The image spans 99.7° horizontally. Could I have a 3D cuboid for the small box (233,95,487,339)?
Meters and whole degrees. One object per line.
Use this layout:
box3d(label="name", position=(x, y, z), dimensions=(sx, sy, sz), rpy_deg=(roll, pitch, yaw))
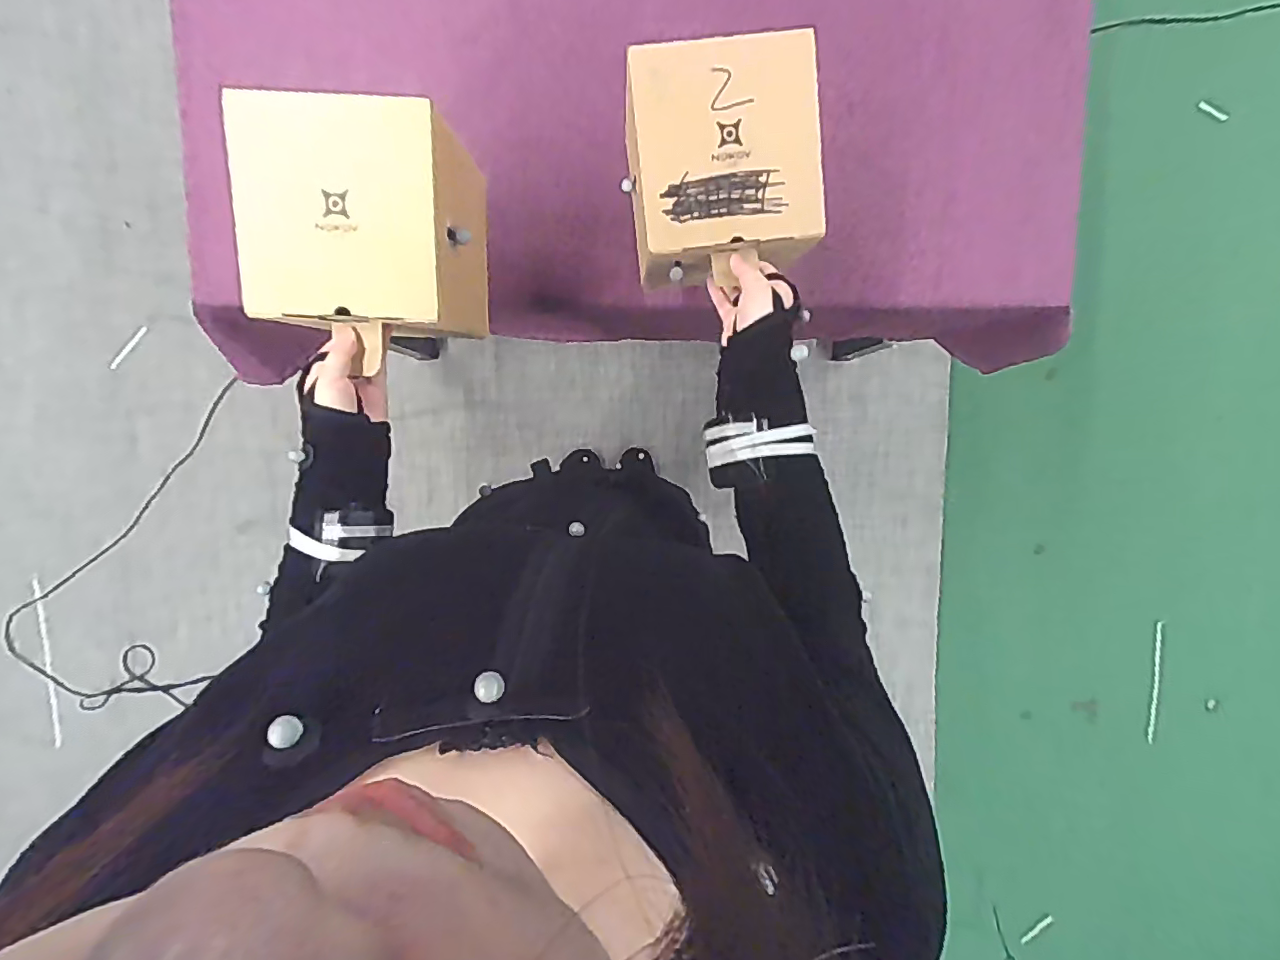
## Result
box3d(label="small box", position=(-0.254, -0.238, 0.534), dimensions=(0.168, 0.176, 0.179), rpy_deg=(2, 101, -2))
